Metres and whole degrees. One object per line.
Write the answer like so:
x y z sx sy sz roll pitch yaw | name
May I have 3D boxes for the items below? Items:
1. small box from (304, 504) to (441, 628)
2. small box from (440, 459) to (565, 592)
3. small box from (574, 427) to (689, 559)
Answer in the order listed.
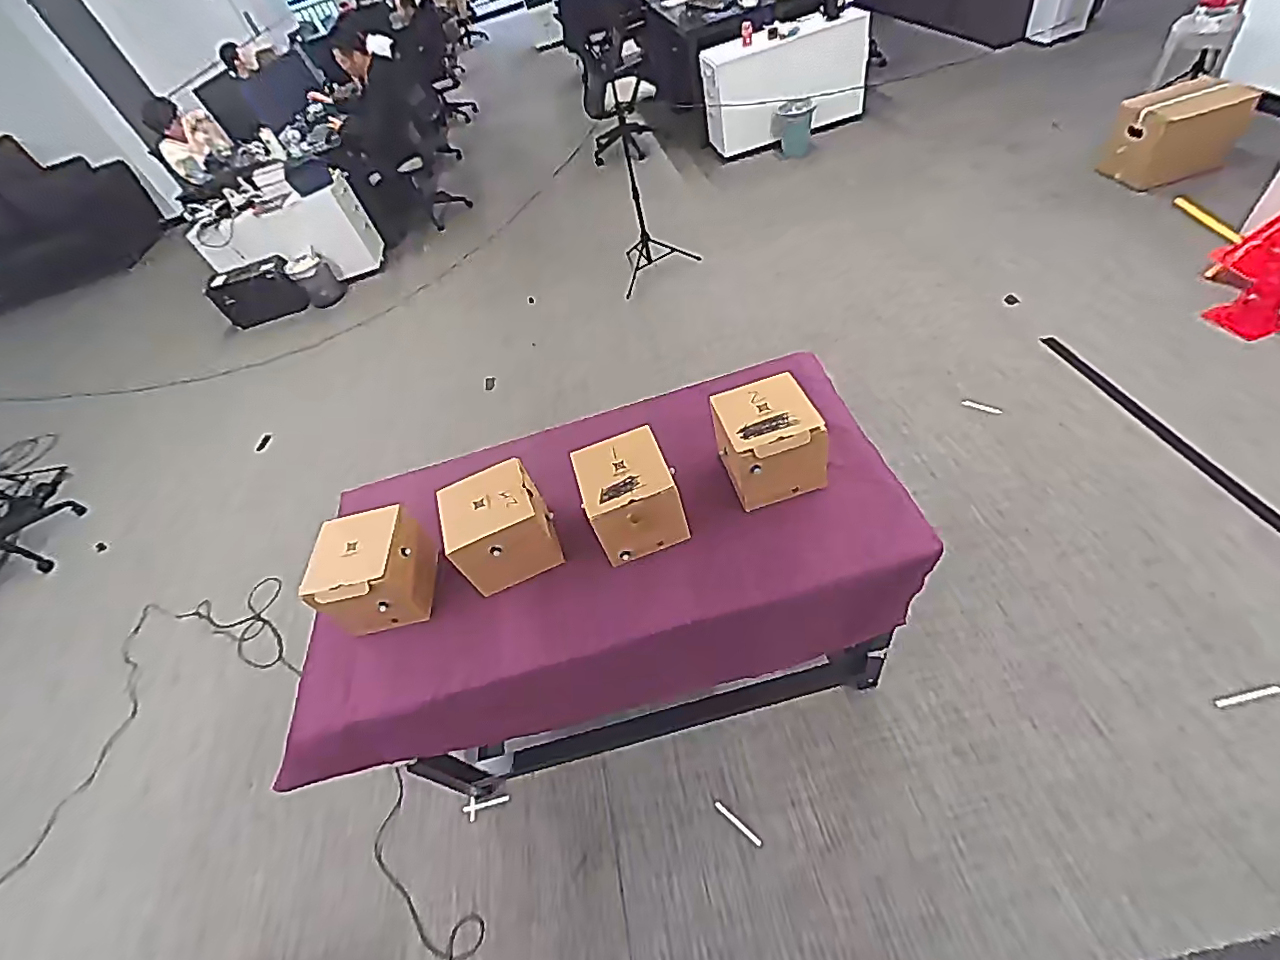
-0.519 0.179 1.078 0.168 0.176 0.179 -12 48 5 | small box
-0.272 0.096 1.076 0.179 0.176 0.168 -23 49 -4 | small box
-0.014 0.034 1.055 0.168 0.176 0.179 -20 47 -1 | small box
